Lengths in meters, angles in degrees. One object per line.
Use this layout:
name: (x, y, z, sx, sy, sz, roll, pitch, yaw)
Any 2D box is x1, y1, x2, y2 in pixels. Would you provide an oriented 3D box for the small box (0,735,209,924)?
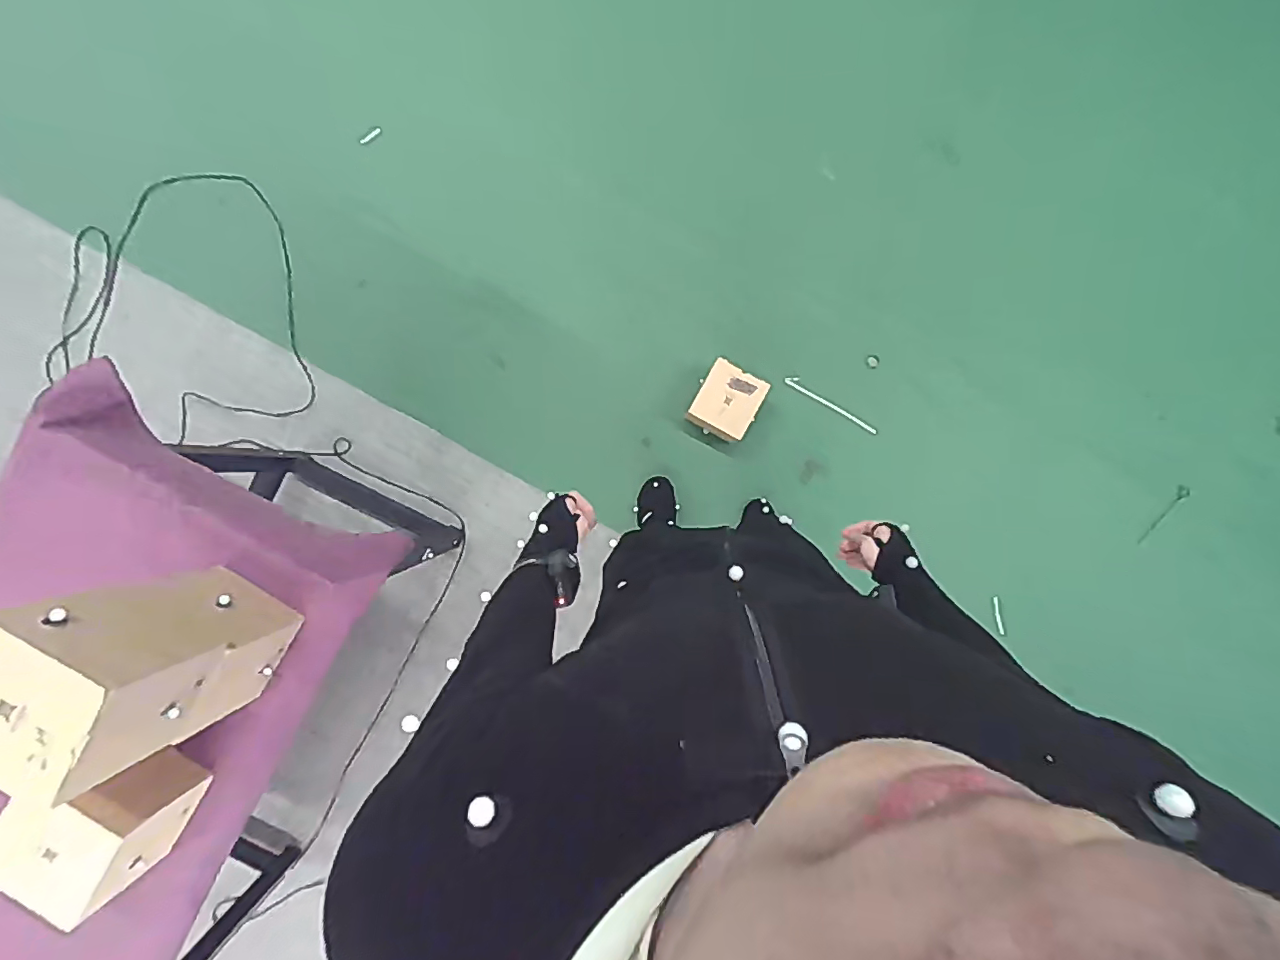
small box: (-0.849, 0.527, 0.857, 0.179, 0.176, 0.168, 32, 92, 2)

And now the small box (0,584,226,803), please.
small box: (-0.690, 0.247, 0.680, 0.179, 0.176, 0.168, 30, 93, 1)

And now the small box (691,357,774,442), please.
small box: (0.254, -0.224, 1.546, 0.168, 0.176, 0.179, 29, 92, 1)
